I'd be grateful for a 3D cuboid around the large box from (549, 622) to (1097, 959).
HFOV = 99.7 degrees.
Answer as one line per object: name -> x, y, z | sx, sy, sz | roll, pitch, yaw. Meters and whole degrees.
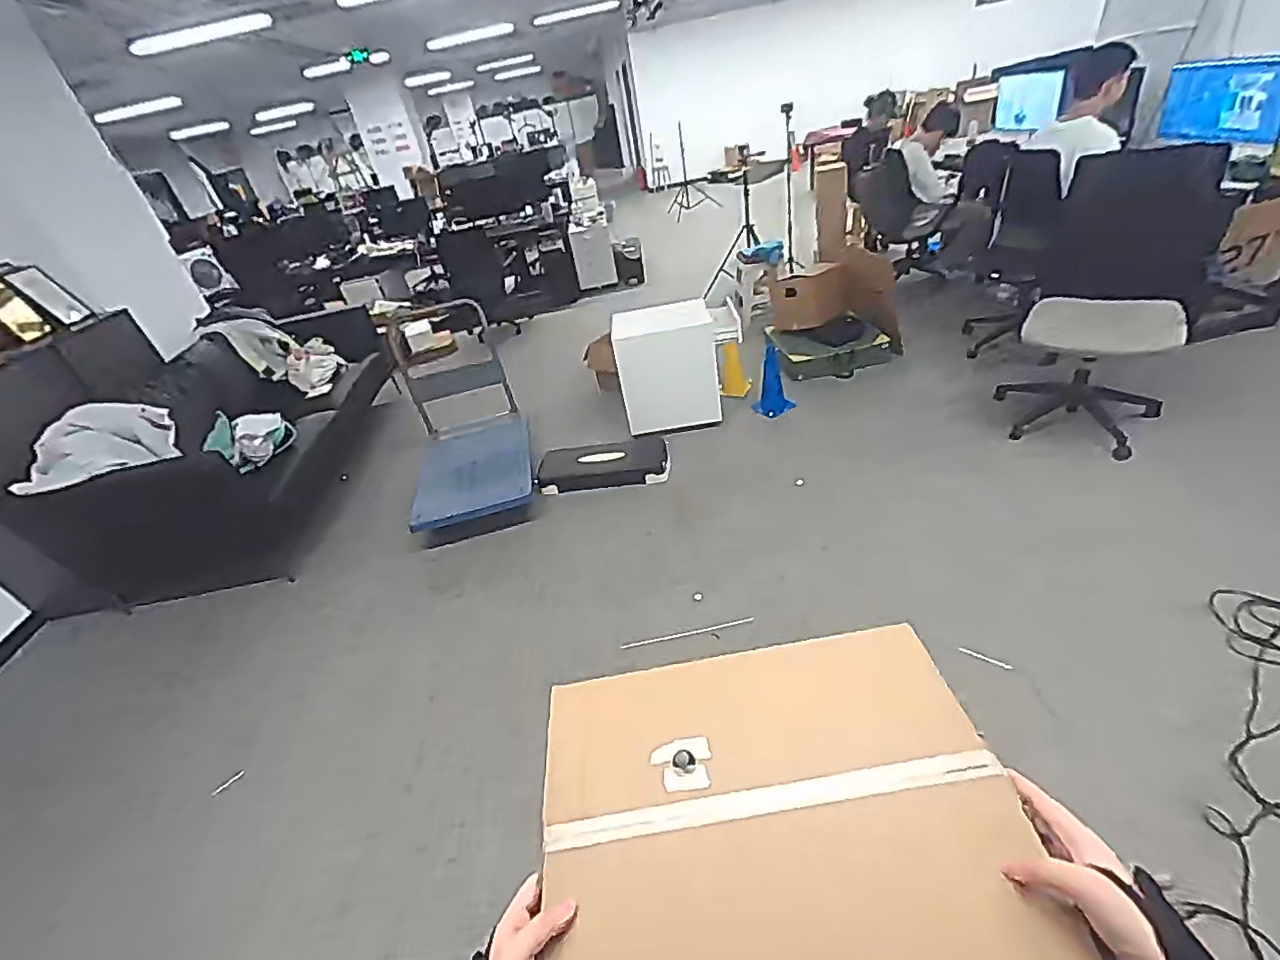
large box -> 0.143, 0.406, 0.583 | 0.408, 0.320, 0.320 | -13, 37, 3
